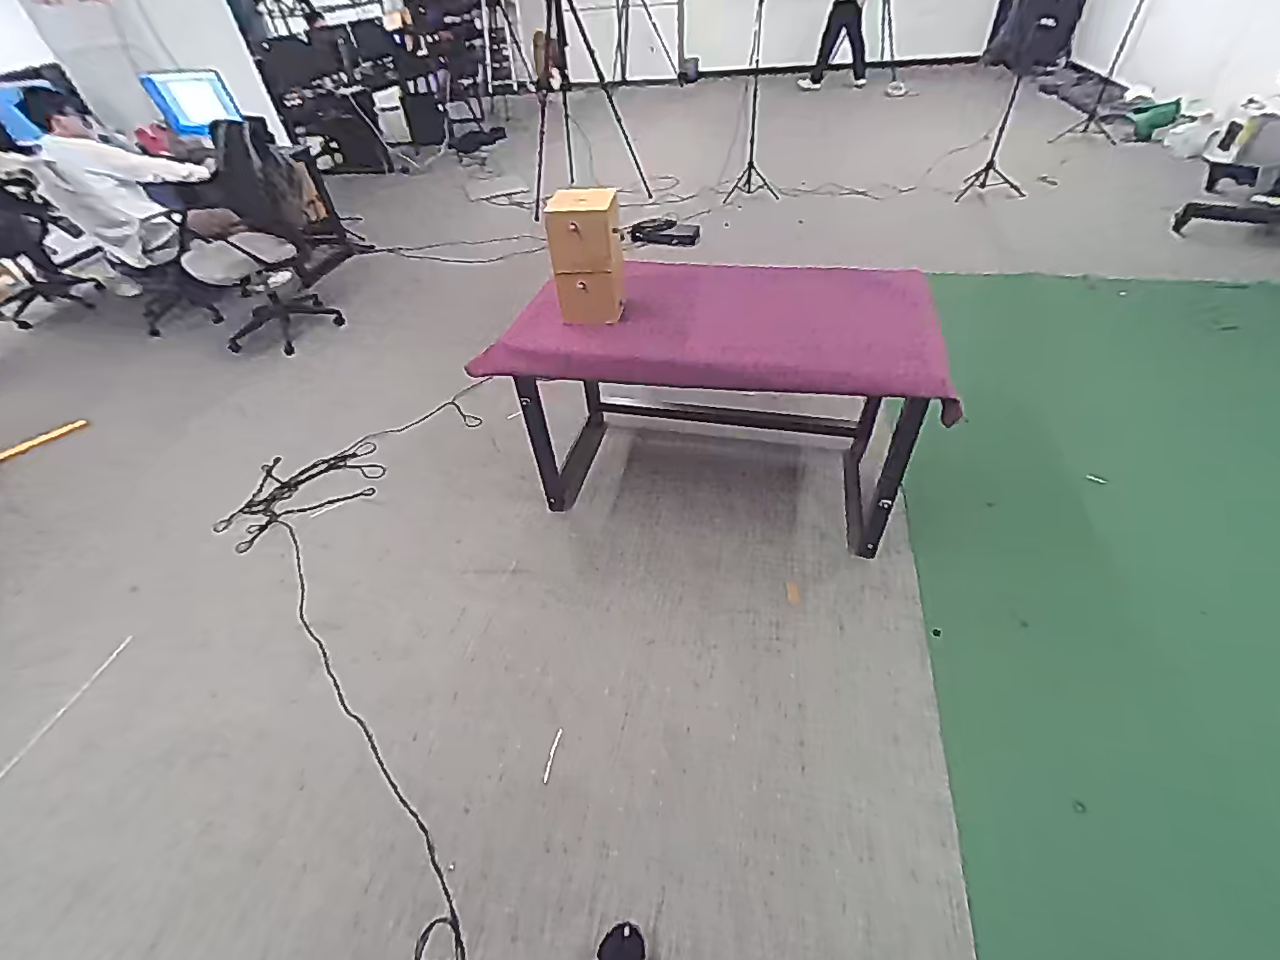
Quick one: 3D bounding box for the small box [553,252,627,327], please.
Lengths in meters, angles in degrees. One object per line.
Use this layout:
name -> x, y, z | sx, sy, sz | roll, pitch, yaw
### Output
small box -> -0.143, -0.572, 1.622 | 0.179, 0.176, 0.168 | 4, 46, 9

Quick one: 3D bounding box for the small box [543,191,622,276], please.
small box -> -0.150, -0.684, 1.505 | 0.179, 0.176, 0.168 | 2, 46, 9
